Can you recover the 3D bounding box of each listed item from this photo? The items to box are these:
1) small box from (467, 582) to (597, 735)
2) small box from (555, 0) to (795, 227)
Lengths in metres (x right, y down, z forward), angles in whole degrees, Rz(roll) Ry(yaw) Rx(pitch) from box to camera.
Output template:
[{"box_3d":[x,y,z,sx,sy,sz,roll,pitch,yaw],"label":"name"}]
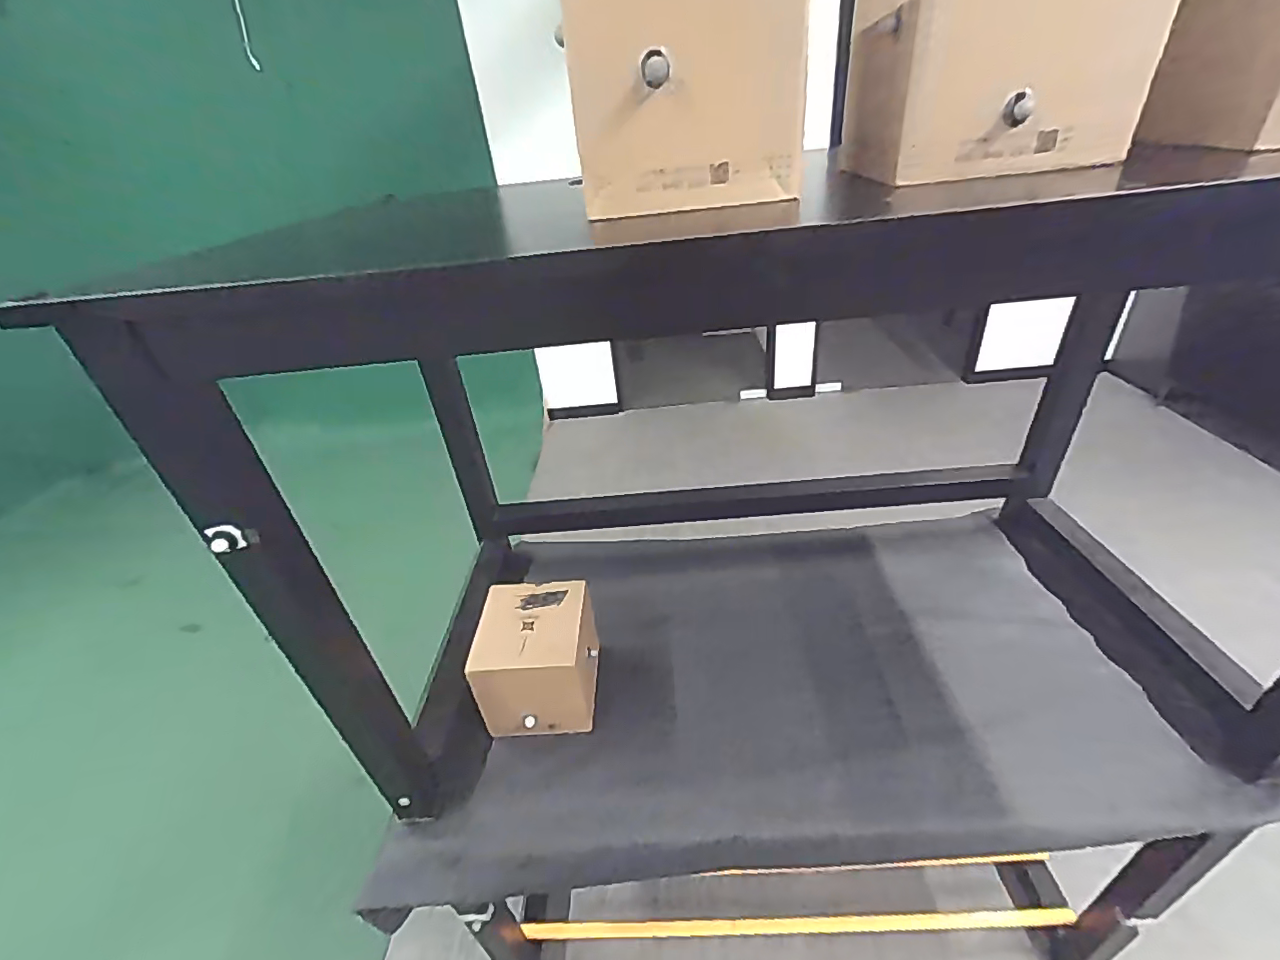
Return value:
[{"box_3d":[-0.165,0.292,0.895,0.168,0.176,0.179,-4,33,3],"label":"small box"},{"box_3d":[0.033,-0.319,0.459,0.168,0.176,0.179,-4,32,4],"label":"small box"}]
